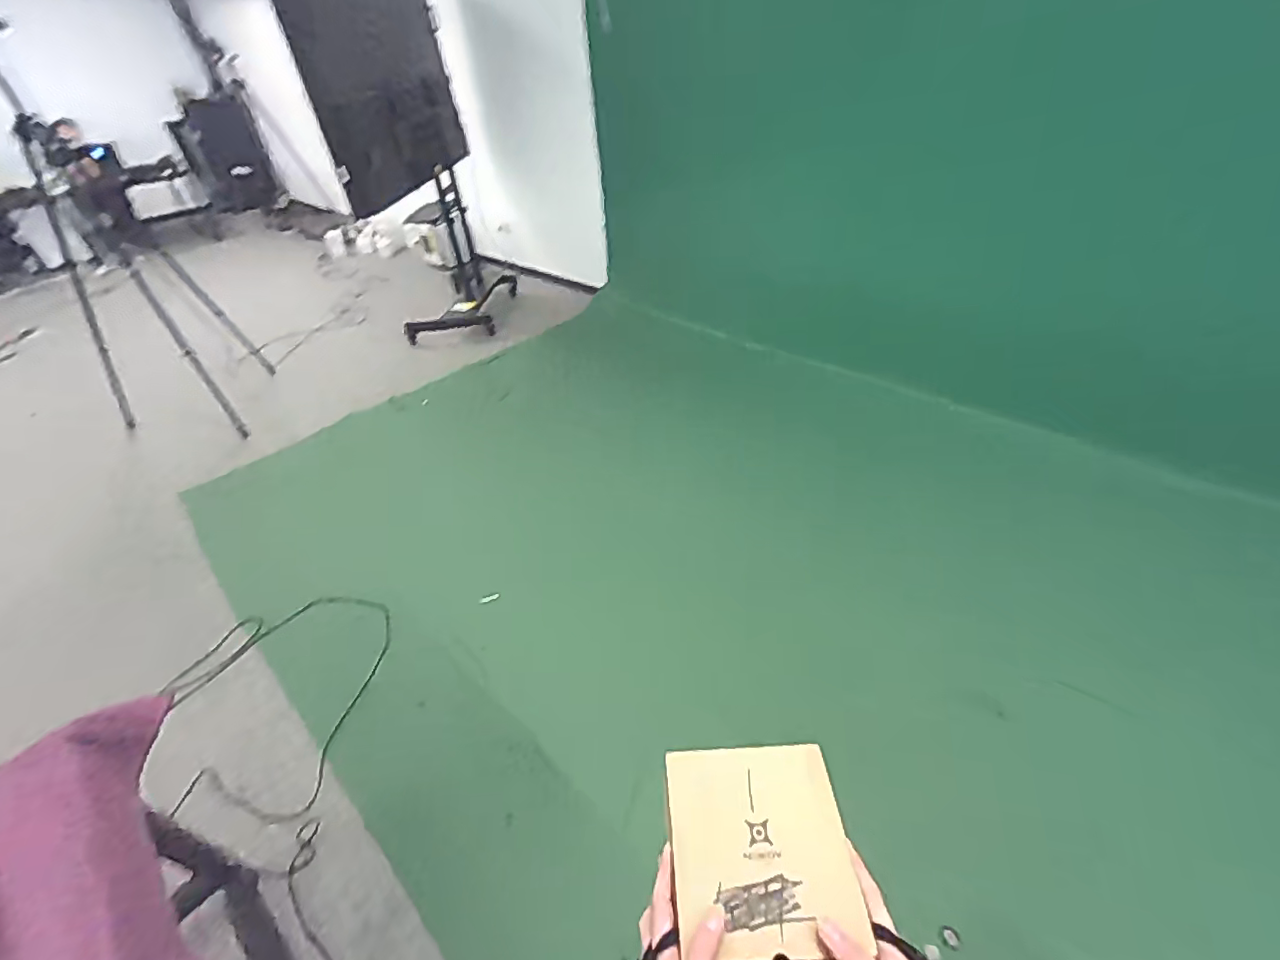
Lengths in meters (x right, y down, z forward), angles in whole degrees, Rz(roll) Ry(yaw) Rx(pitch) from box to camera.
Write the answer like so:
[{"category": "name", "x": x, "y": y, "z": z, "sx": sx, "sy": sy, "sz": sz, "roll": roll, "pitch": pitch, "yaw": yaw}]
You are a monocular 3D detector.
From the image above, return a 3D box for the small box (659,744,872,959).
[{"category": "small box", "x": 0.108, "y": 0.397, "z": 0.551, "sx": 0.168, "sy": 0.176, "sz": 0.179, "roll": -3, "pitch": 40, "yaw": -2}]
